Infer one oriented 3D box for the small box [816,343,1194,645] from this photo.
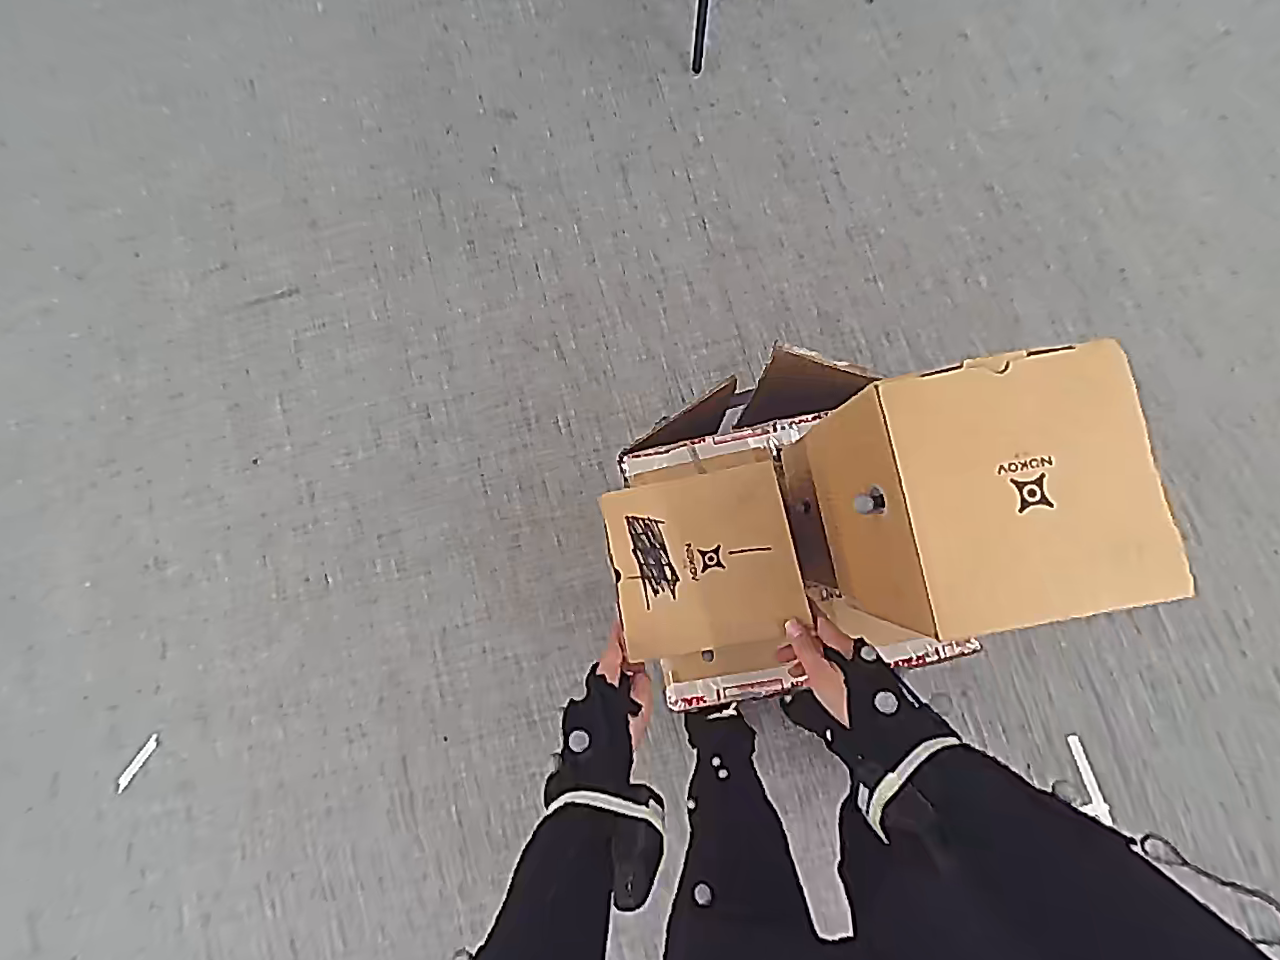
[{"bbox_3d":[0.258,0.015,0.432,0.168,0.176,0.179,-11,83,1],"label":"small box"}]
